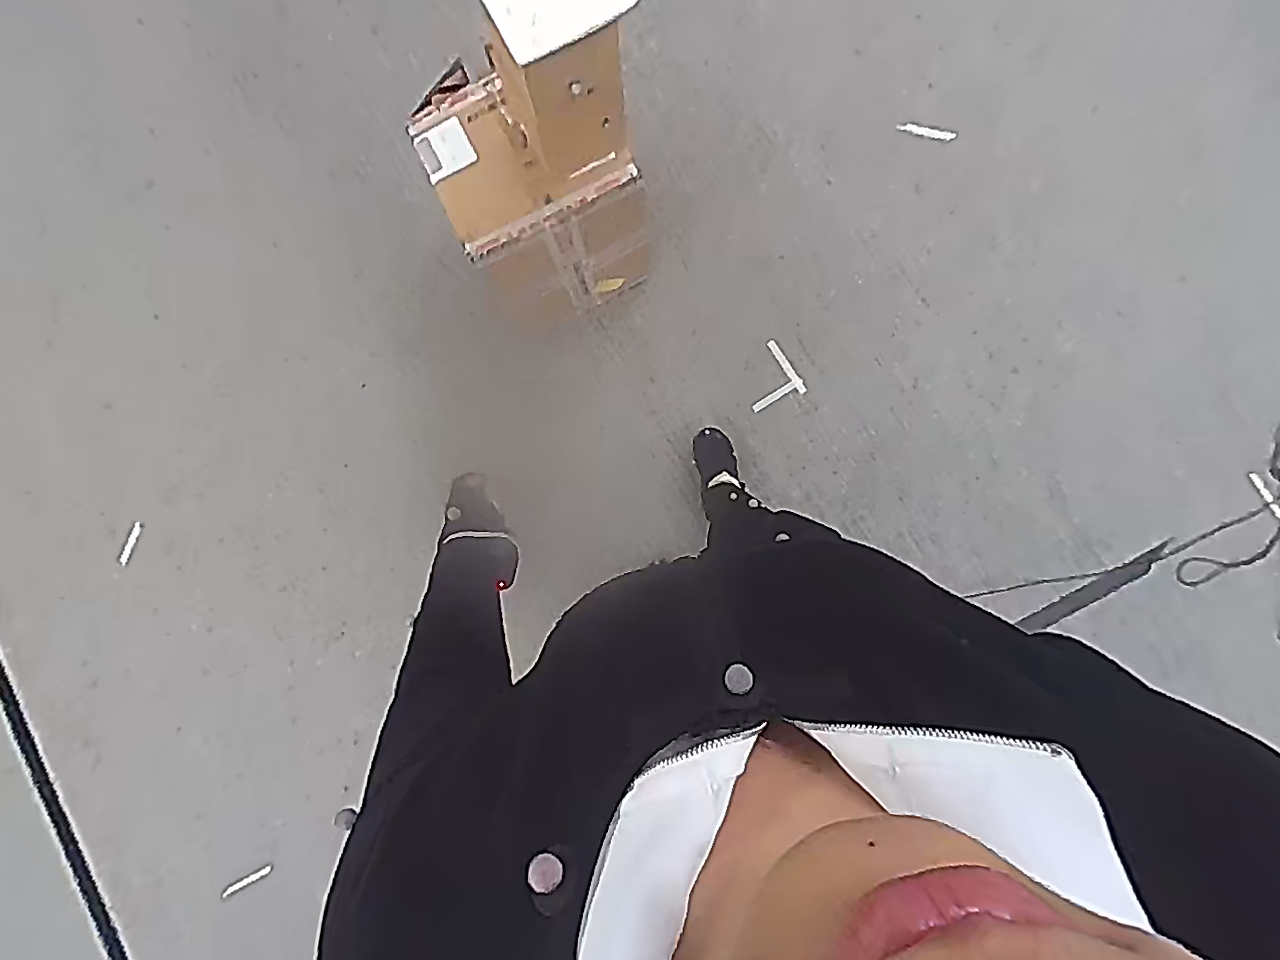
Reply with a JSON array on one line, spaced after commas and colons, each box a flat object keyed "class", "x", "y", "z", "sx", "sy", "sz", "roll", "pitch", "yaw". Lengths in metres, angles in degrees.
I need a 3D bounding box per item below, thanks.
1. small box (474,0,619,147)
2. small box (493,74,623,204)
[{"class": "small box", "x": -0.145, "y": -0.684, "z": 0.858, "sx": 0.168, "sy": 0.176, "sz": 0.179, "roll": -28, "pitch": 87, "yaw": -1}, {"class": "small box", "x": -0.145, "y": -0.670, "z": 1.022, "sx": 0.179, "sy": 0.176, "sz": 0.168, "roll": -31, "pitch": 86, "yaw": -1}]
